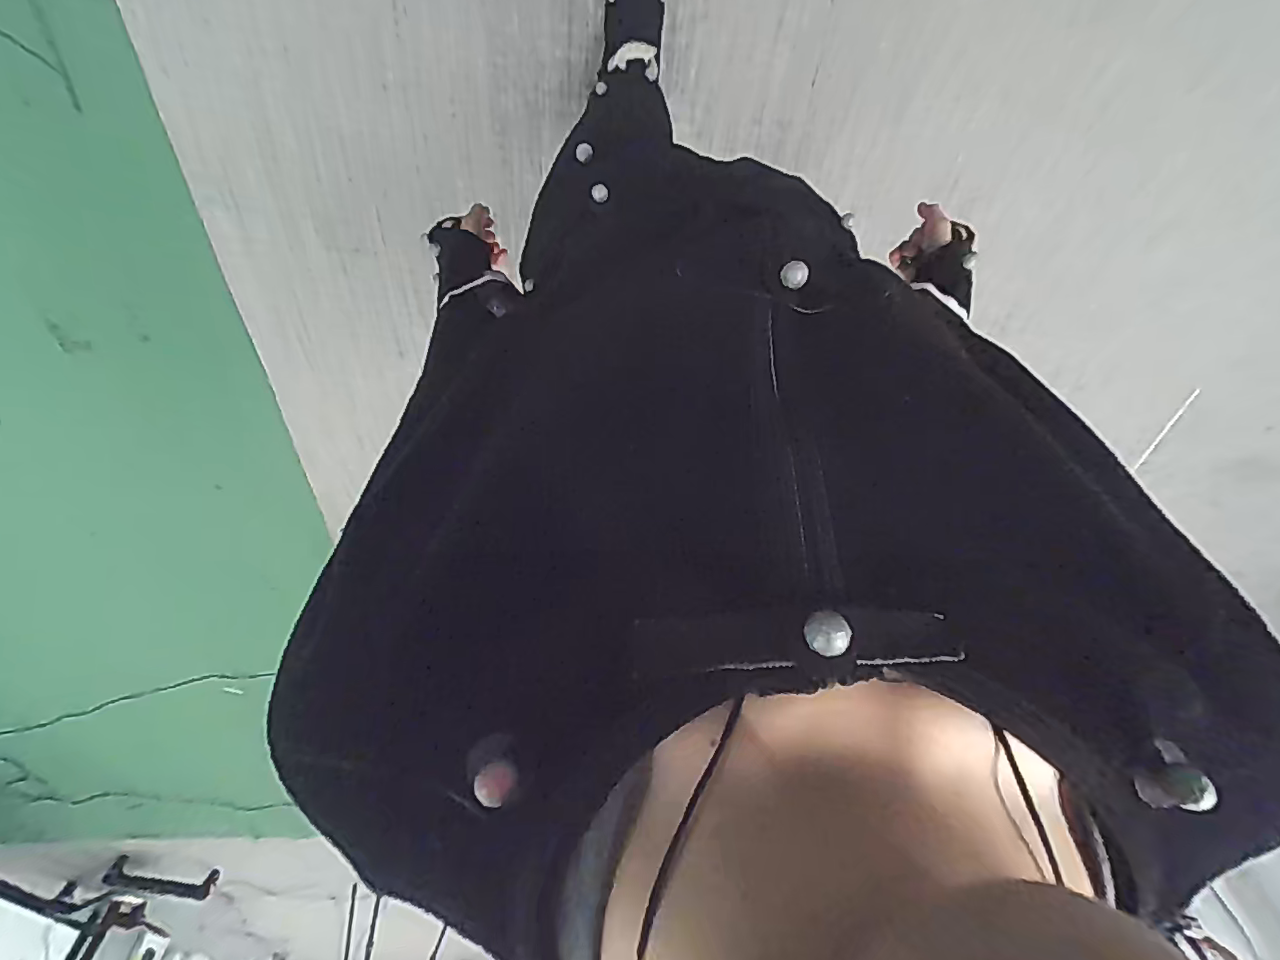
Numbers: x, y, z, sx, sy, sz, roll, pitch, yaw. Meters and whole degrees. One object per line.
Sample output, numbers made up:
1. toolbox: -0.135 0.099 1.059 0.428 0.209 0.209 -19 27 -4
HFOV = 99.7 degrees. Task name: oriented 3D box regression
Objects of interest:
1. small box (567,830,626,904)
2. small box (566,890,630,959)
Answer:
1. small box: -0.133 1.228 1.706 0.179 0.176 0.168 0 130 -4
2. small box: -0.123 1.317 1.569 0.179 0.176 0.168 1 130 -5
